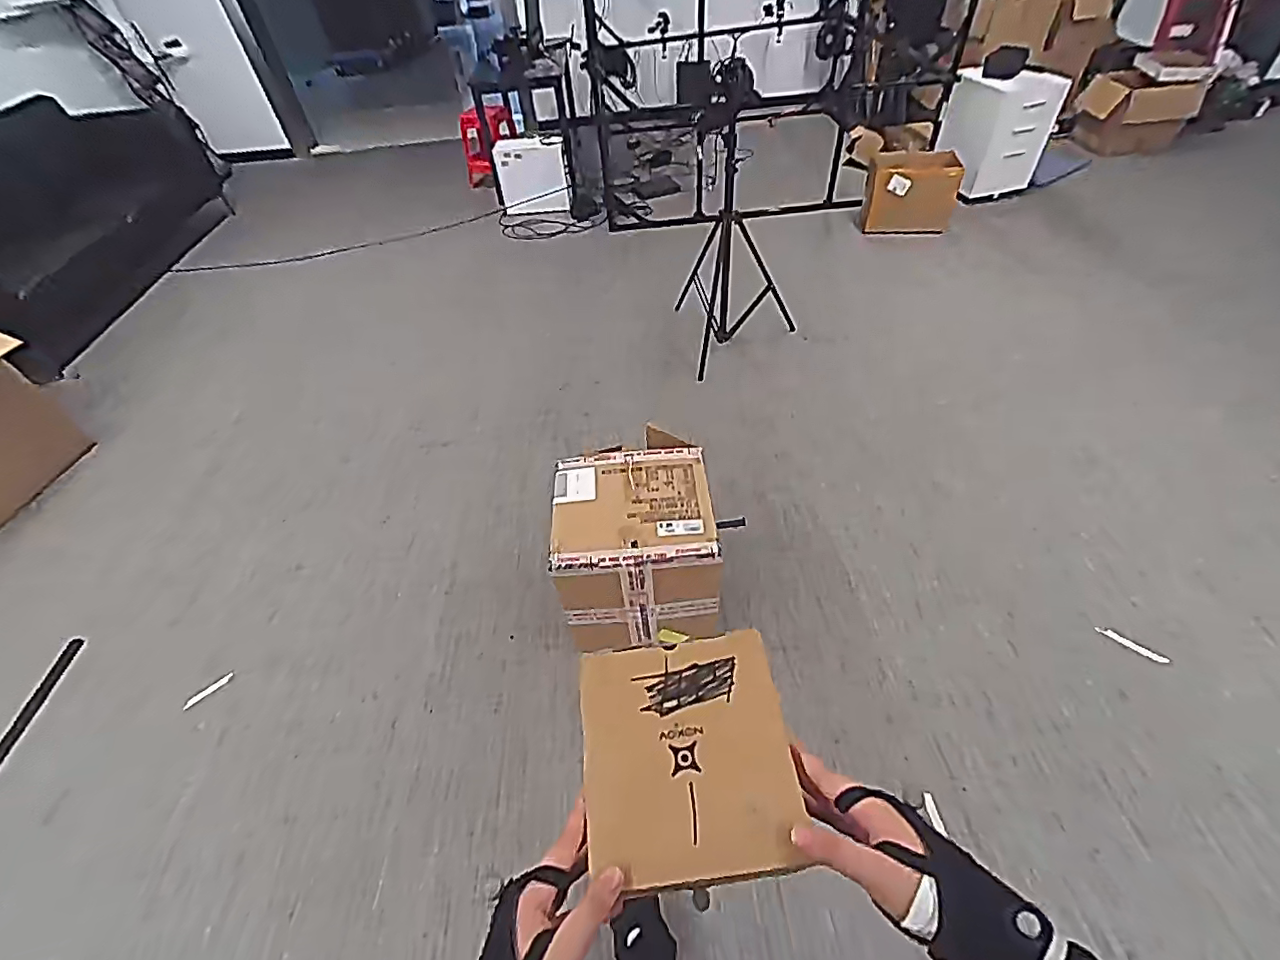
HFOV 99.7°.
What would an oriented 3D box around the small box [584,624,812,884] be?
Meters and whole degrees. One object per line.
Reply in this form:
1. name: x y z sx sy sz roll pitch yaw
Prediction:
1. small box: 0.044 0.259 0.506 0.168 0.176 0.179 -9 52 1
